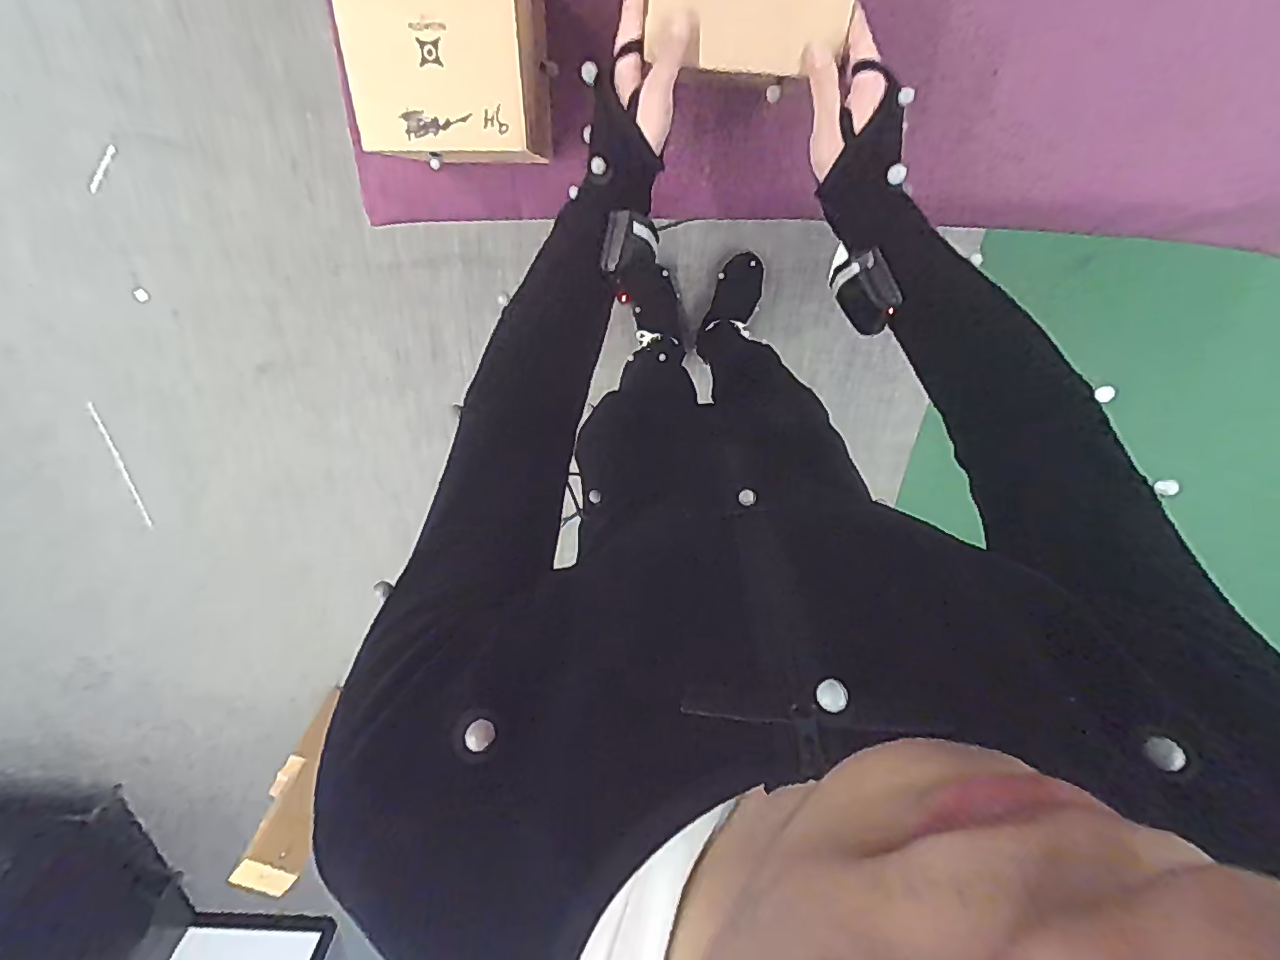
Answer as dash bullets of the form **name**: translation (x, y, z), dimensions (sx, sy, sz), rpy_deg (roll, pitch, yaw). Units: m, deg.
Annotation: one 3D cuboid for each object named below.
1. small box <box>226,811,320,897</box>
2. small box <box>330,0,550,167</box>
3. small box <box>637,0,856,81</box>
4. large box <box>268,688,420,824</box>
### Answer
- **small box**: translation (-1.223, 1.245, 1.811), dimensions (0.179, 0.176, 0.168), rpy_deg (34, 113, -18)
- **small box**: translation (-0.191, -0.432, 0.558), dimensions (0.168, 0.176, 0.179), rpy_deg (2, 117, 1)
- **small box**: translation (0.091, -0.470, 0.487), dimensions (0.179, 0.176, 0.168), rpy_deg (3, 124, -3)
- **large box**: translation (-1.195, 1.123, 2.210), dimensions (0.408, 0.320, 0.320), rpy_deg (31, 116, -16)
